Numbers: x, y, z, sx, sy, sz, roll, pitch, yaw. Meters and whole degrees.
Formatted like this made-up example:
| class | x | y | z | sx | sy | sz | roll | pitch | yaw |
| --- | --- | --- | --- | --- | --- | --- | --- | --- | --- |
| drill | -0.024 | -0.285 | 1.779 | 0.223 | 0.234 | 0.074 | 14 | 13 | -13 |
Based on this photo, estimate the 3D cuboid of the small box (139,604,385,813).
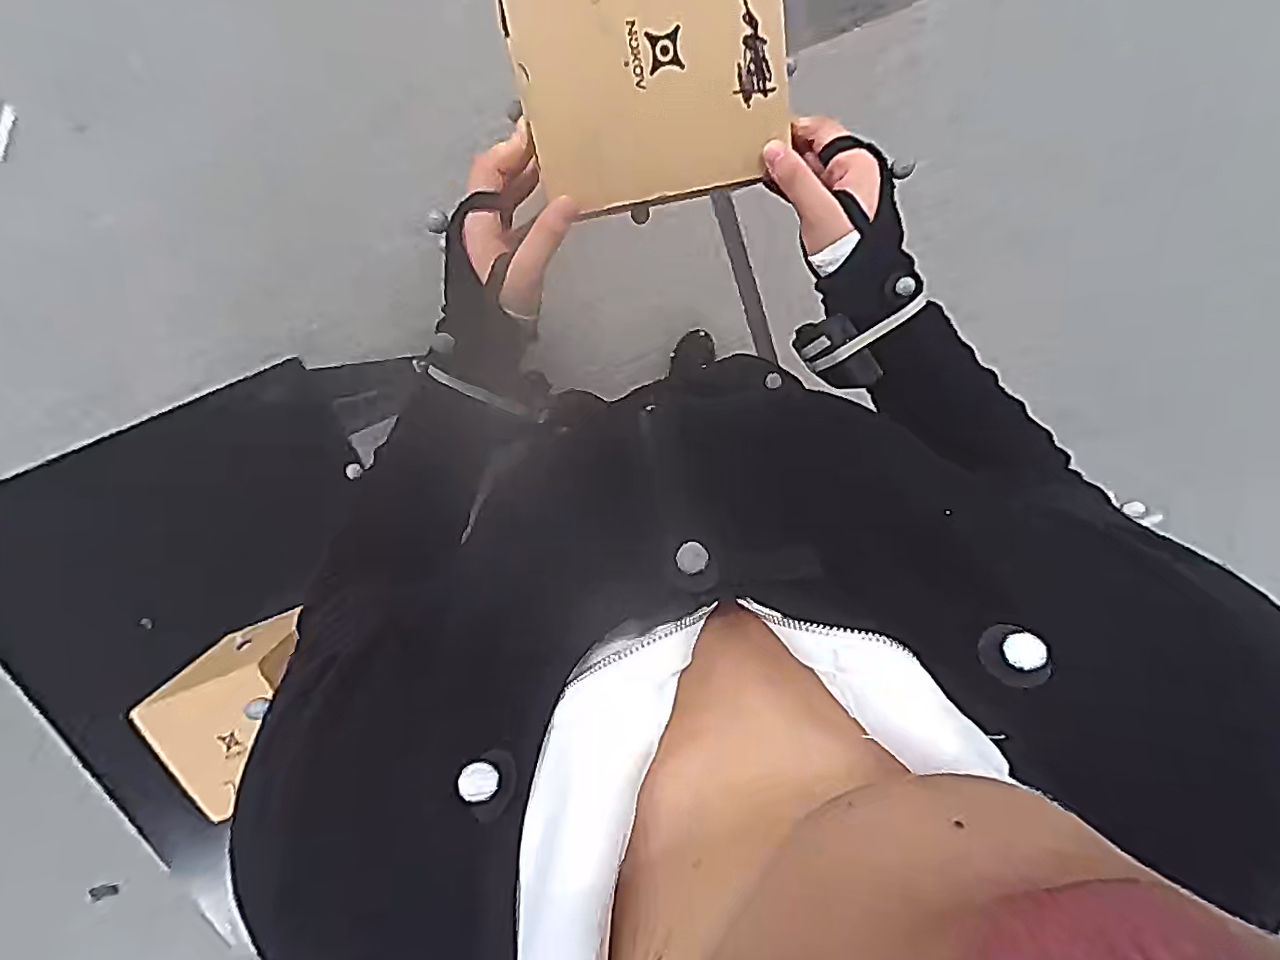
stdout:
| class | x | y | z | sx | sy | sz | roll | pitch | yaw |
| --- | --- | --- | --- | --- | --- | --- | --- | --- | --- |
| small box | -0.483 | 0.288 | 0.723 | 0.168 | 0.176 | 0.179 | -22 | 105 | 4 |

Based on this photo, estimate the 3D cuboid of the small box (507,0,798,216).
| class | x | y | z | sx | sy | sz | roll | pitch | yaw |
| --- | --- | --- | --- | --- | --- | --- | --- | --- | --- |
| small box | 0.006 | -0.307 | 0.413 | 0.179 | 0.176 | 0.168 | -11 | 115 | 0 |
